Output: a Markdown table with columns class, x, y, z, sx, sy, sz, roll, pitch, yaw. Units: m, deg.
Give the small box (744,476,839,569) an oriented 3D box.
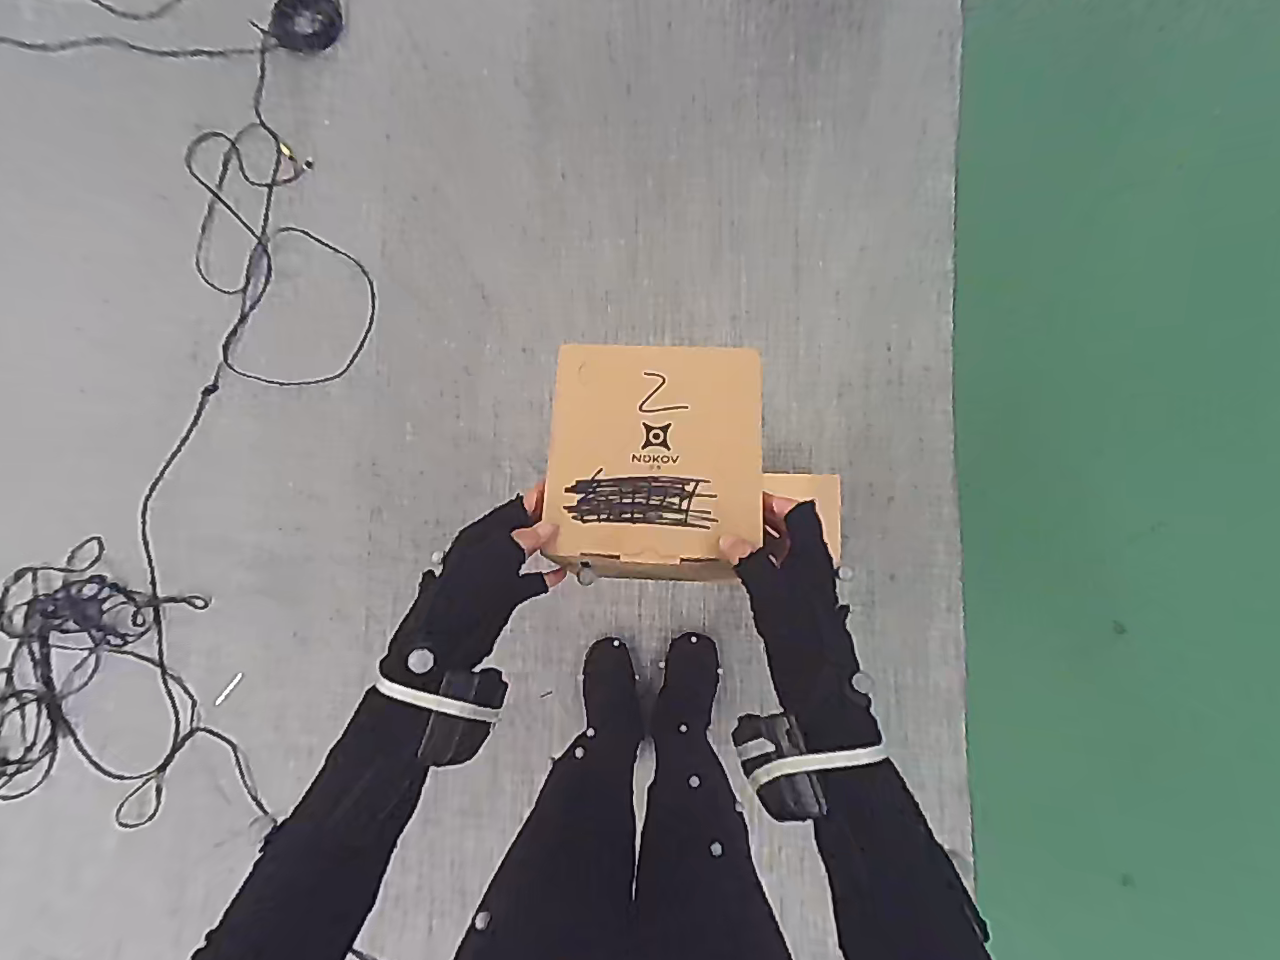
| class | x | y | z | sx | sy | sz | roll | pitch | yaw |
| --- | --- | --- | --- | --- | --- | --- | --- | --- | --- |
| small box | 0.310 | 0.089 | 1.129 | 0.168 | 0.176 | 0.179 | 1 | 86 | 6 |
